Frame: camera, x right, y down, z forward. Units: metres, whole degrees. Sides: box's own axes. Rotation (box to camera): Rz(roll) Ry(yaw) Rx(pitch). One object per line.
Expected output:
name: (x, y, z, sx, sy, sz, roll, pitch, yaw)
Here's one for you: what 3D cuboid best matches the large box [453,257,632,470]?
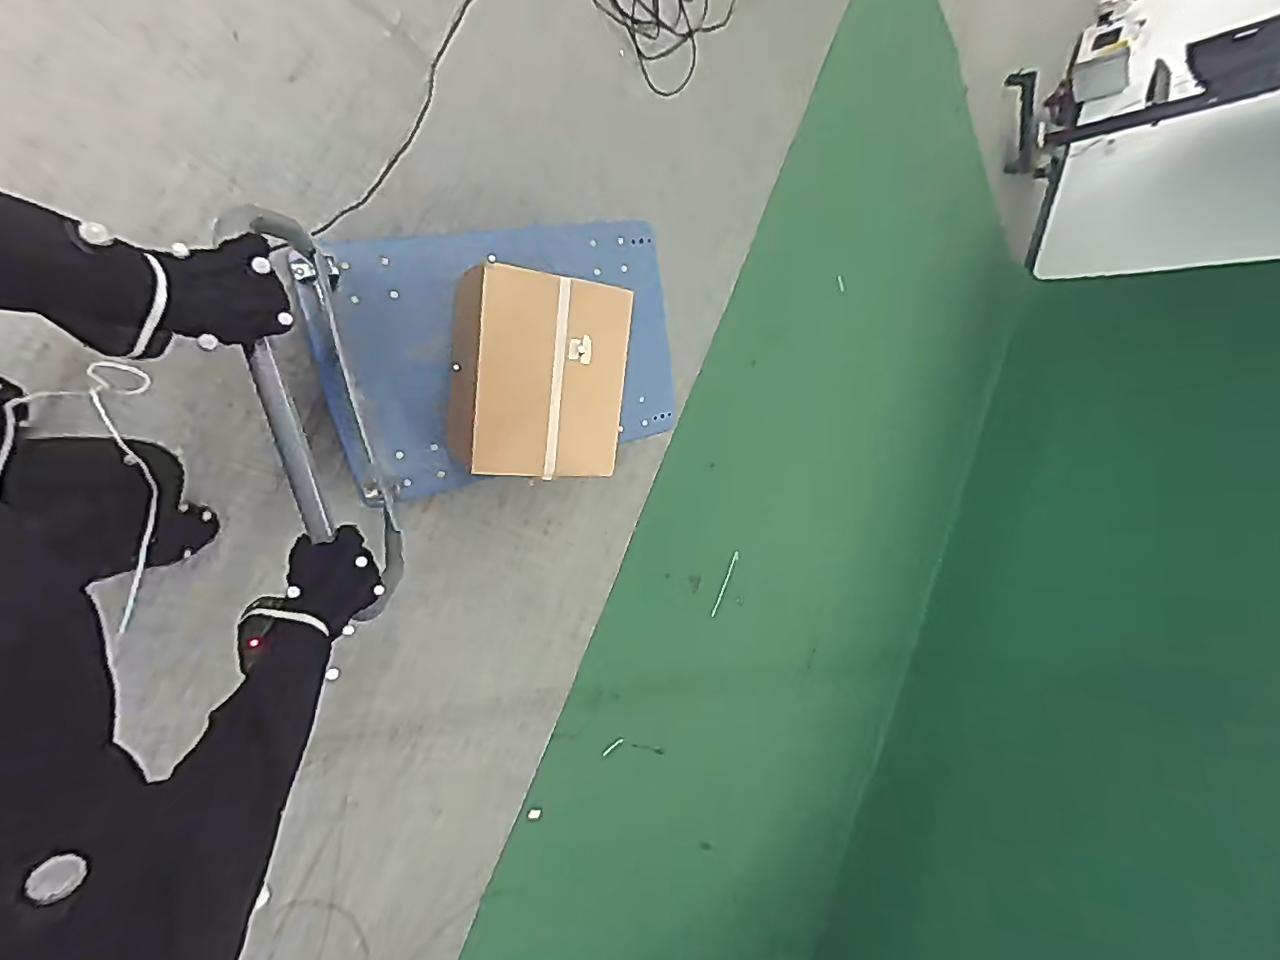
large box: (-0.239, -0.246, 1.227, 0.320, 0.320, 0.408, 1, 102, -28)
